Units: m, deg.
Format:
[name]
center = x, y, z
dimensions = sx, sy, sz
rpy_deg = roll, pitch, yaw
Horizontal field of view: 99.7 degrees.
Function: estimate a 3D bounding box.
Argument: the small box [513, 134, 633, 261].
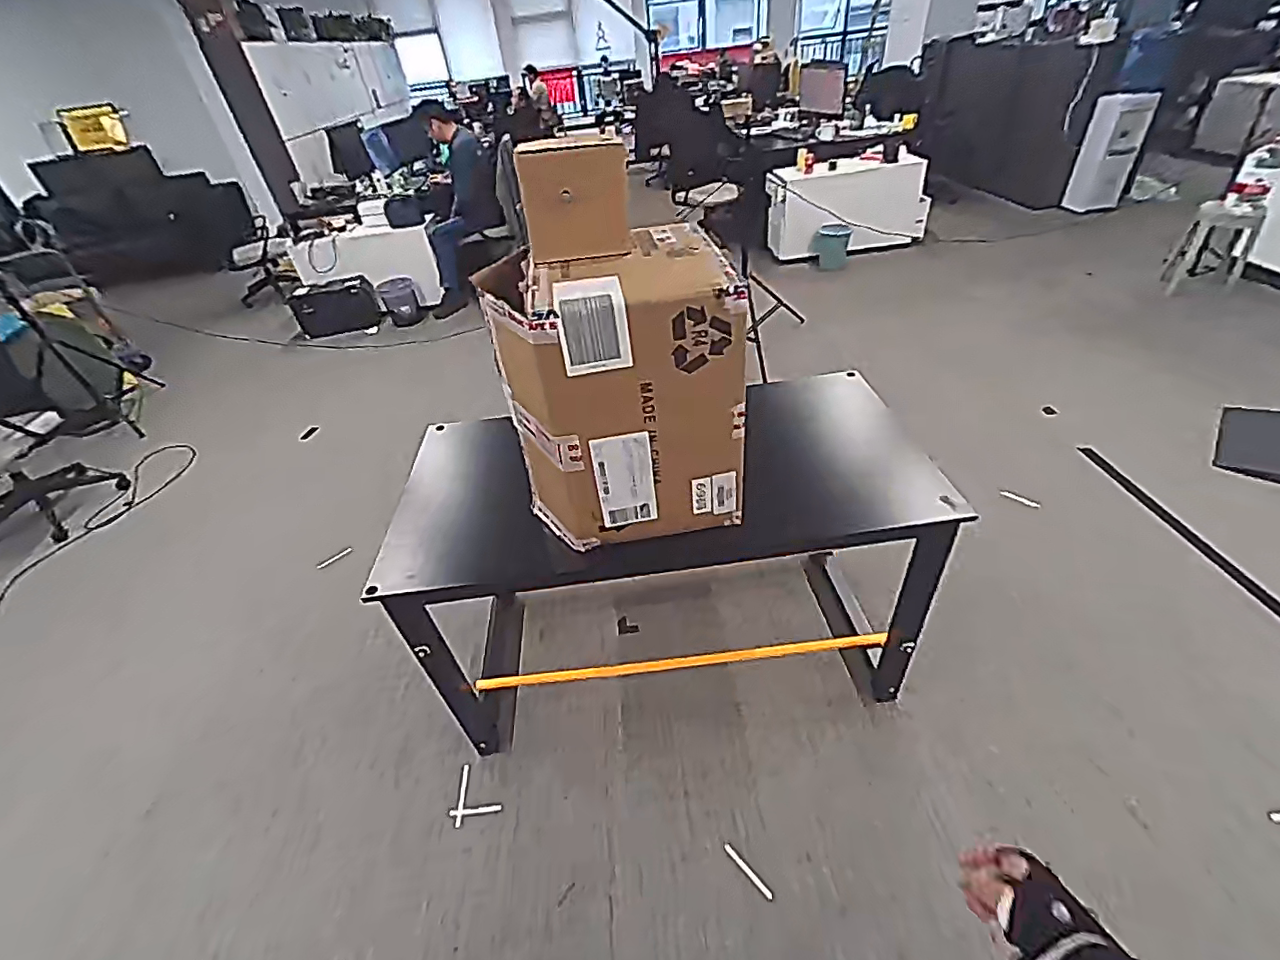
[small box]
center = -0.114, -0.494, 0.949
dimensions = 0.179, 0.176, 0.168
rpy_deg = -9, 37, -3
